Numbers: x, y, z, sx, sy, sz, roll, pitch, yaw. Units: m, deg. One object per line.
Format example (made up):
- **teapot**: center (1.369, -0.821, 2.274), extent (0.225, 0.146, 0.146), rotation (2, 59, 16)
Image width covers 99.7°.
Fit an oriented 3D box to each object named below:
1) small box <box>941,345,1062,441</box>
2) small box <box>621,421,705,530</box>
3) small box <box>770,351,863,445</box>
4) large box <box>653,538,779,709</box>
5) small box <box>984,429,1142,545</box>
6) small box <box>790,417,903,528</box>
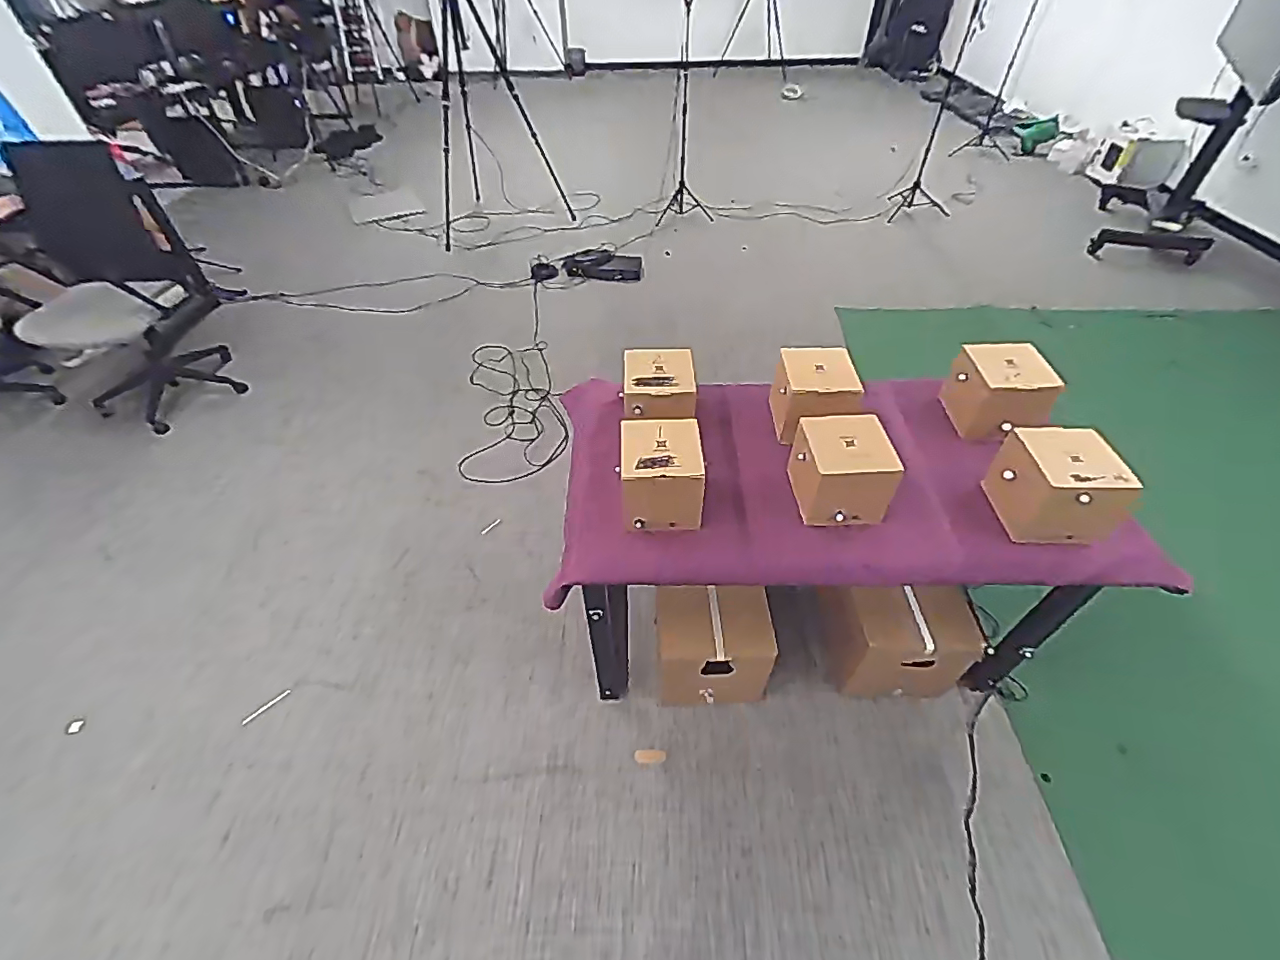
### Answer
- **small box**: center (0.876, -0.214, 1.334), extent (0.168, 0.176, 0.179), rotation (-1, 47, 4)
- **small box**: center (0.046, -0.005, 1.161), extent (0.168, 0.176, 0.179), rotation (-2, 44, -1)
- **small box**: center (0.428, -0.203, 1.345), extent (0.168, 0.176, 0.179), rotation (0, 47, 1)
- **large box**: center (0.207, 0.435, 1.652), extent (0.320, 0.320, 0.408), rotation (-2, 45, -1)
- **small box**: center (0.853, 0.013, 1.117), extent (0.168, 0.176, 0.179), rotation (0, 43, 4)
- **small box**: center (0.430, -0.017, 1.163), extent (0.168, 0.176, 0.179), rotation (-2, 45, 1)
